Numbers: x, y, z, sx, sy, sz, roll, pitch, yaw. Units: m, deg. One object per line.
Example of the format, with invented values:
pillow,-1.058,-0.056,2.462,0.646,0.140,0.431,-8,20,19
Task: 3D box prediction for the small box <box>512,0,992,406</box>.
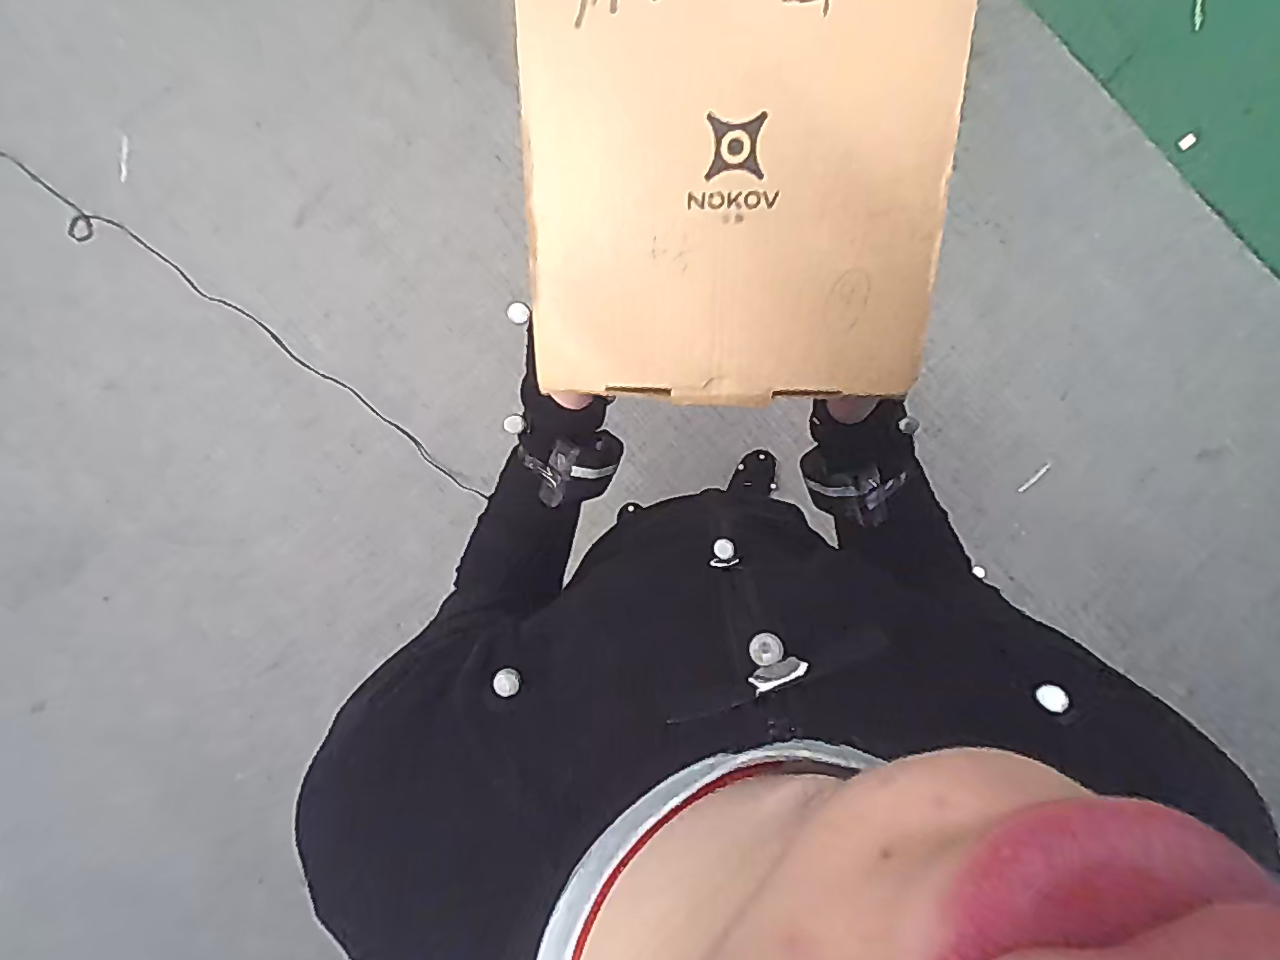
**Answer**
small box,0.040,-0.142,0.278,0.168,0.176,0.179,1,109,2
